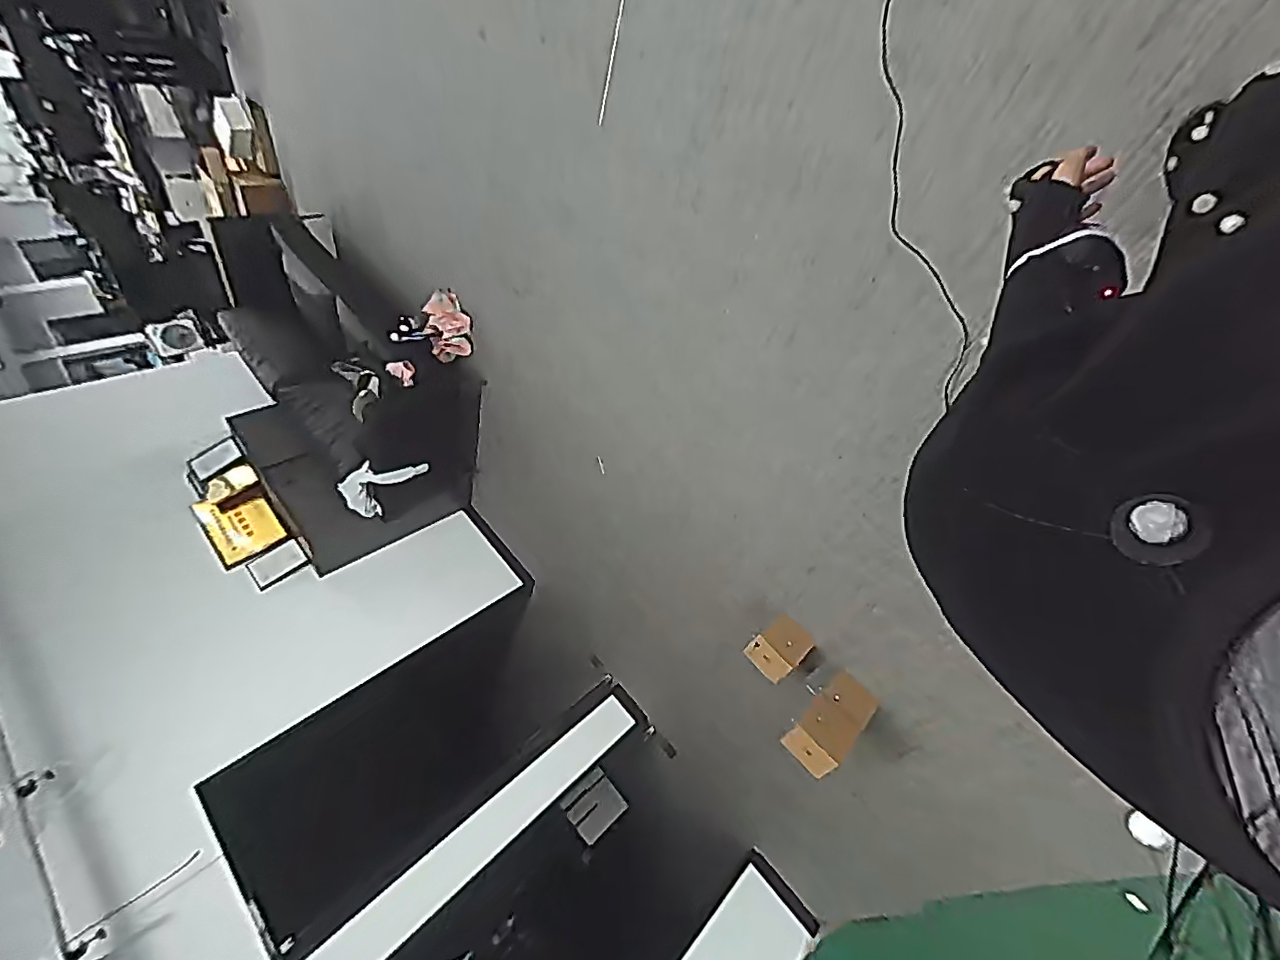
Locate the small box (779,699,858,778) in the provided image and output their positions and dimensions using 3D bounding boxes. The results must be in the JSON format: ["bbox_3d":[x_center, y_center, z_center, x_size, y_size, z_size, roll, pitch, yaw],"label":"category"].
[{"bbox_3d":[0.641,0.915,1.936,0.179,0.176,0.168,42,139,22],"label":"small box"}]

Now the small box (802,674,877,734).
[{"bbox_3d":[0.753,0.862,2.041,0.179,0.176,0.168,42,139,22],"label":"small box"}]
